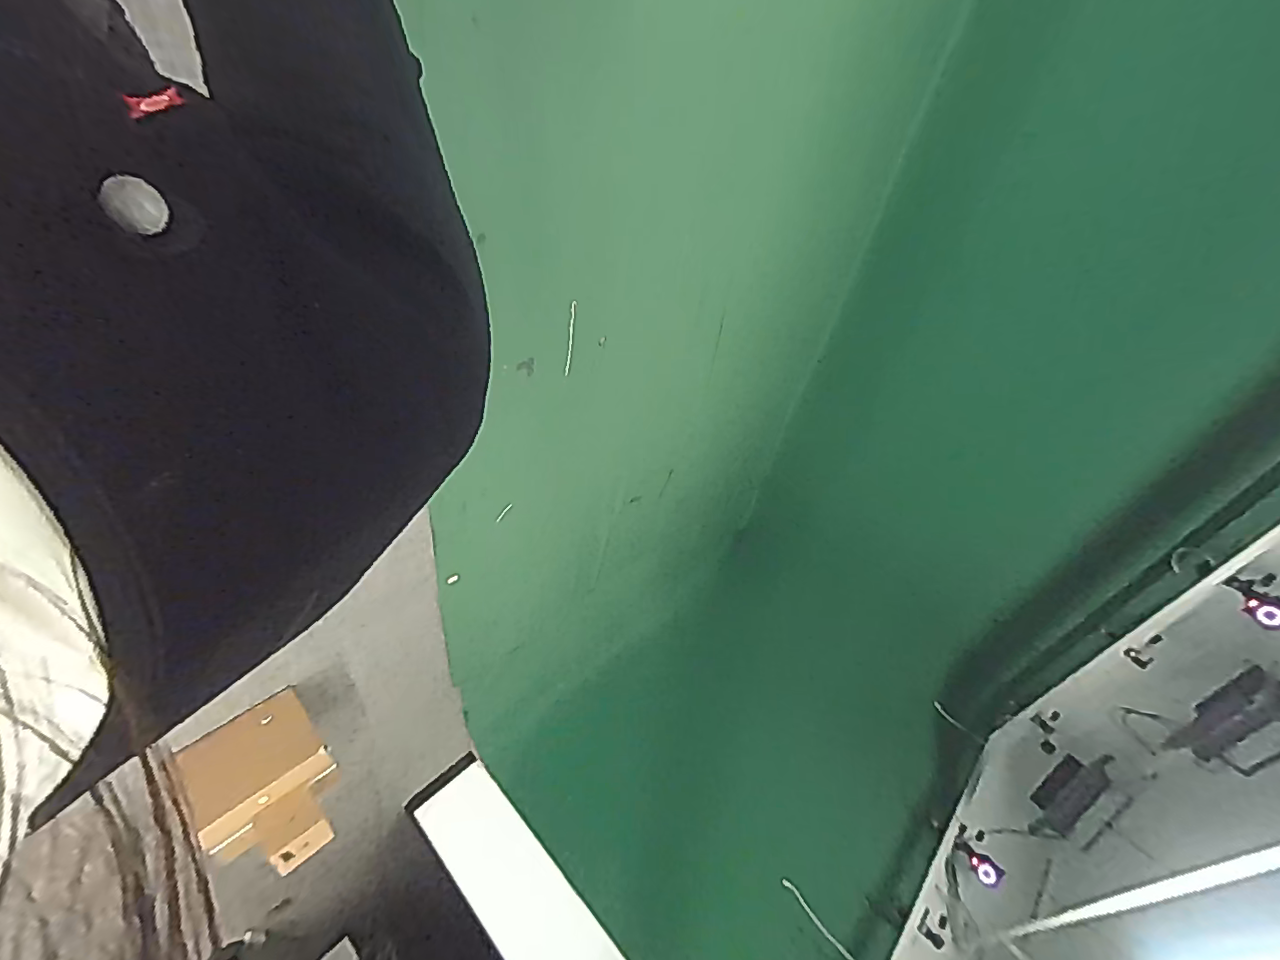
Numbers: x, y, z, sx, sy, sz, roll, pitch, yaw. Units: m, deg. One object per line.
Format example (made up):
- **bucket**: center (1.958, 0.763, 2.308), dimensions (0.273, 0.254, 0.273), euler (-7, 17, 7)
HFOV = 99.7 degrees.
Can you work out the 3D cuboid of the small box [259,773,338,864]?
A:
- **small box**: center (-1.201, 1.180, 1.893), dimensions (0.179, 0.176, 0.168), euler (-30, 140, -35)
